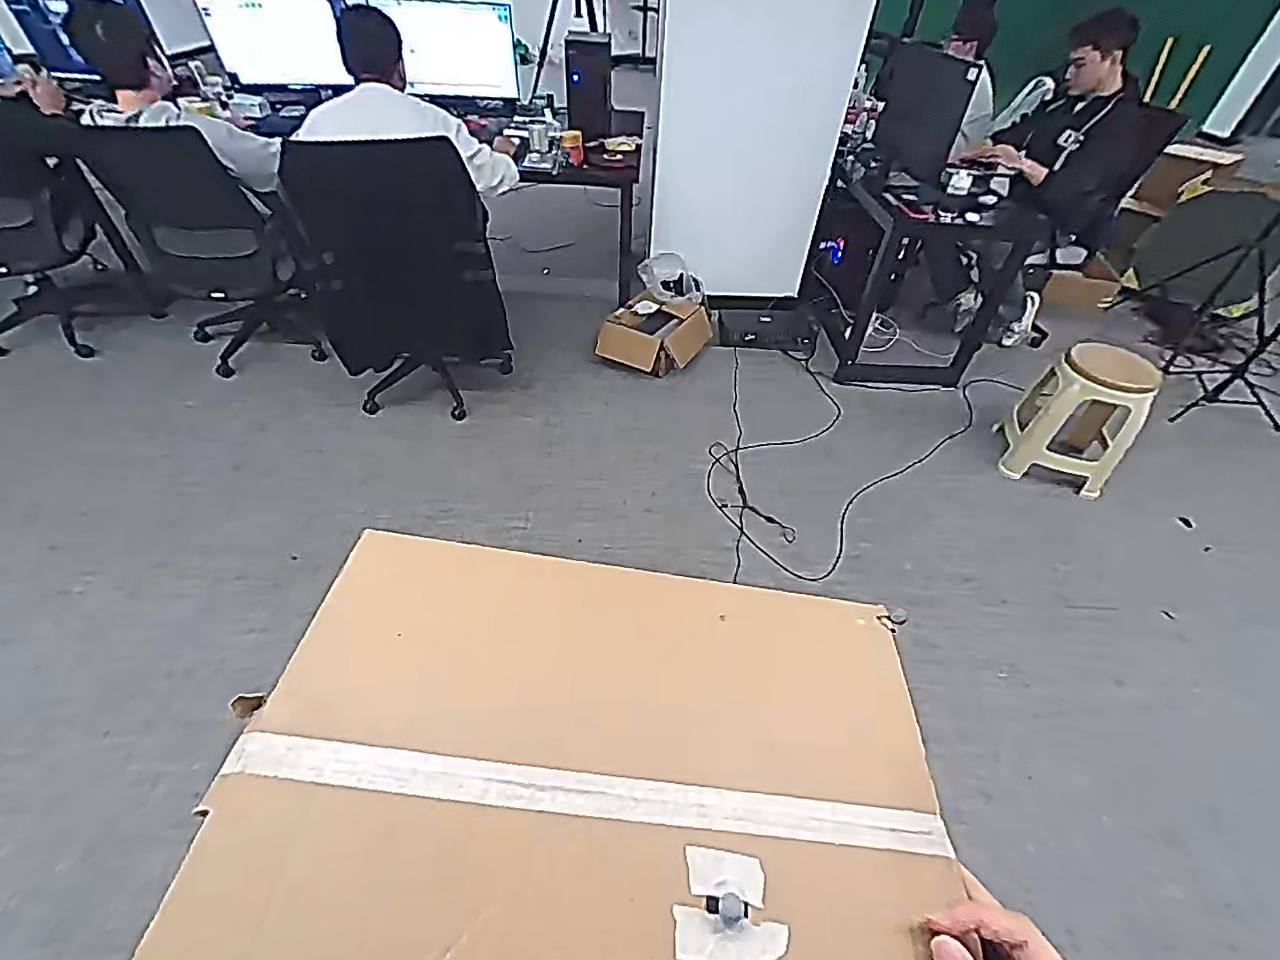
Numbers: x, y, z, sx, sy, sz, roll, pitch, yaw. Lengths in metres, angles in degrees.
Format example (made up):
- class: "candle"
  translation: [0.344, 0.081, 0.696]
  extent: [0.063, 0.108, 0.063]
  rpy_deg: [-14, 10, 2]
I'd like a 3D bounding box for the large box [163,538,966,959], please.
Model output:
- class: "large box"
  translation: [-0.041, 0.284, 0.427]
  extent: [0.408, 0.320, 0.320]
  rpy_deg: [10, 47, -4]
